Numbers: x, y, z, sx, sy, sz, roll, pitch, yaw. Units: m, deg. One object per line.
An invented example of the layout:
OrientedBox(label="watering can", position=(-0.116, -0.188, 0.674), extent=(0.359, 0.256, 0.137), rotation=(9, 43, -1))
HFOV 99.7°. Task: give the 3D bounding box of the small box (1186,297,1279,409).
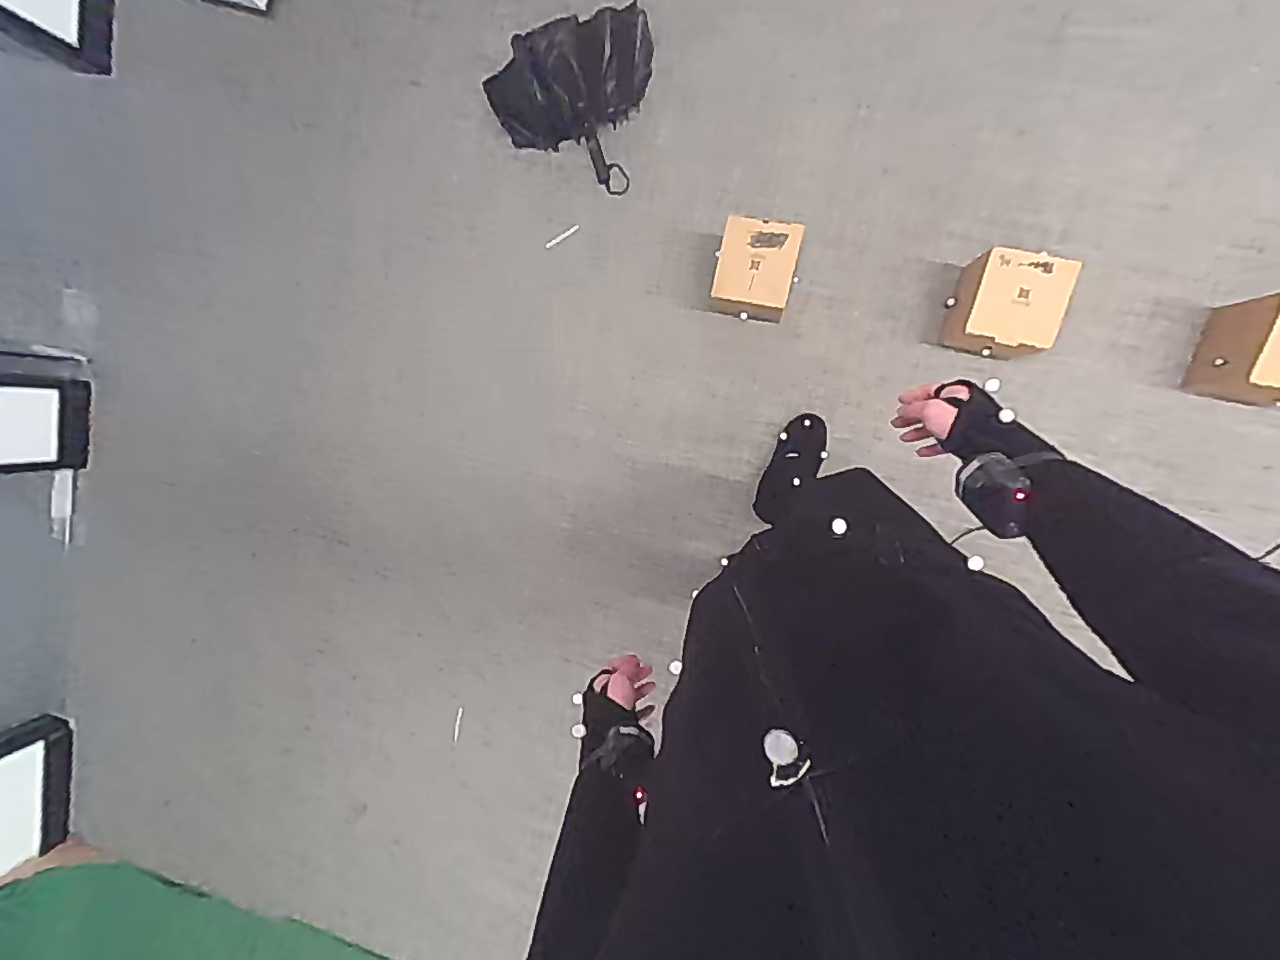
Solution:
OrientedBox(label="small box", position=(1.251, -0.241, 1.068), extent=(0.168, 0.176, 0.179), rotation=(15, 97, 10))

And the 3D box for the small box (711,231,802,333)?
OrientedBox(label="small box", position=(0.268, -0.453, 1.257), extent=(0.168, 0.176, 0.179), rotation=(13, 99, 11))

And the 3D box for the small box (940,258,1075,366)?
OrientedBox(label="small box", position=(0.772, -0.351, 1.160), extent=(0.168, 0.176, 0.179), rotation=(16, 99, 10))
